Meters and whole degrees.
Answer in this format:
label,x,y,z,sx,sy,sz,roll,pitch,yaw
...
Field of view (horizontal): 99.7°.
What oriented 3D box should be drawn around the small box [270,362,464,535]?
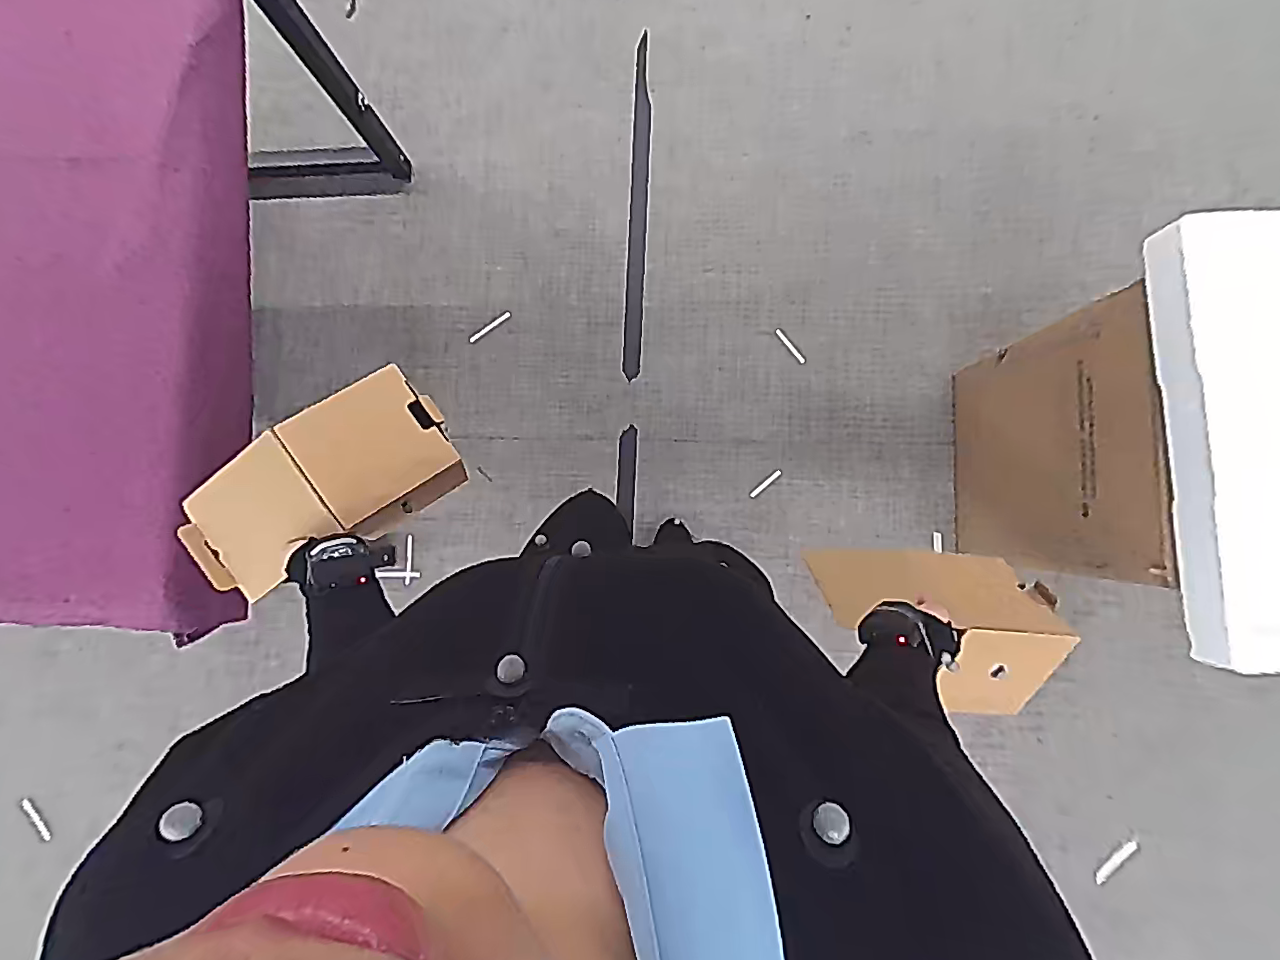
label,x,y,z,sx,sy,sz,roll,pitch,yaw
small box,-0.375,-0.034,0.782,0.179,0.176,0.168,-35,90,-17
